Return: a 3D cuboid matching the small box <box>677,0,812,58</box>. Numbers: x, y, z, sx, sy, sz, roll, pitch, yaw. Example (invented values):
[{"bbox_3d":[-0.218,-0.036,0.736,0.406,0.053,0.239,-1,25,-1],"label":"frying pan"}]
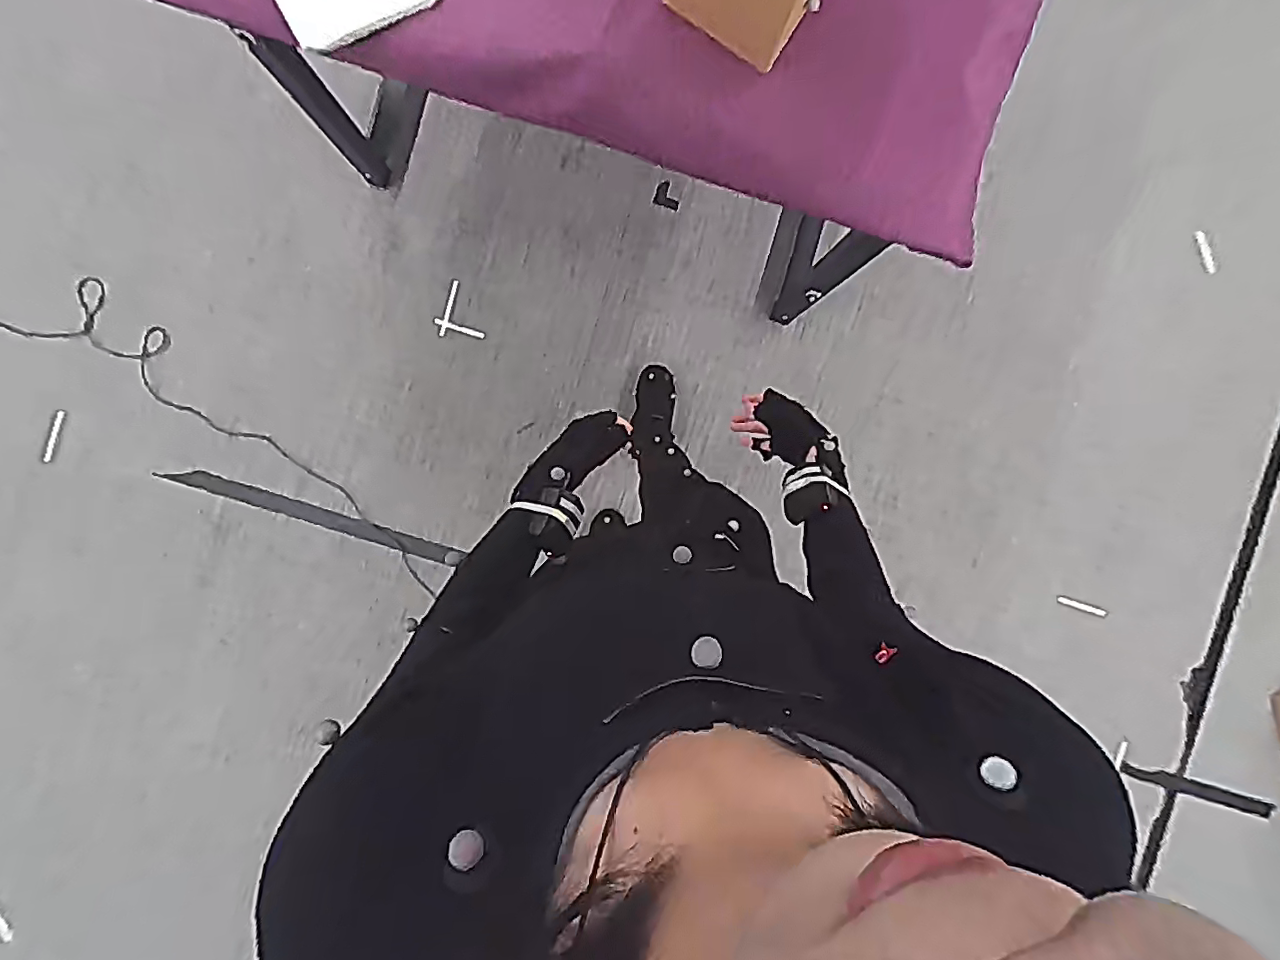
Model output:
[{"bbox_3d":[0.151,-0.682,0.664,0.179,0.176,0.168,32,89,-4],"label":"small box"}]
